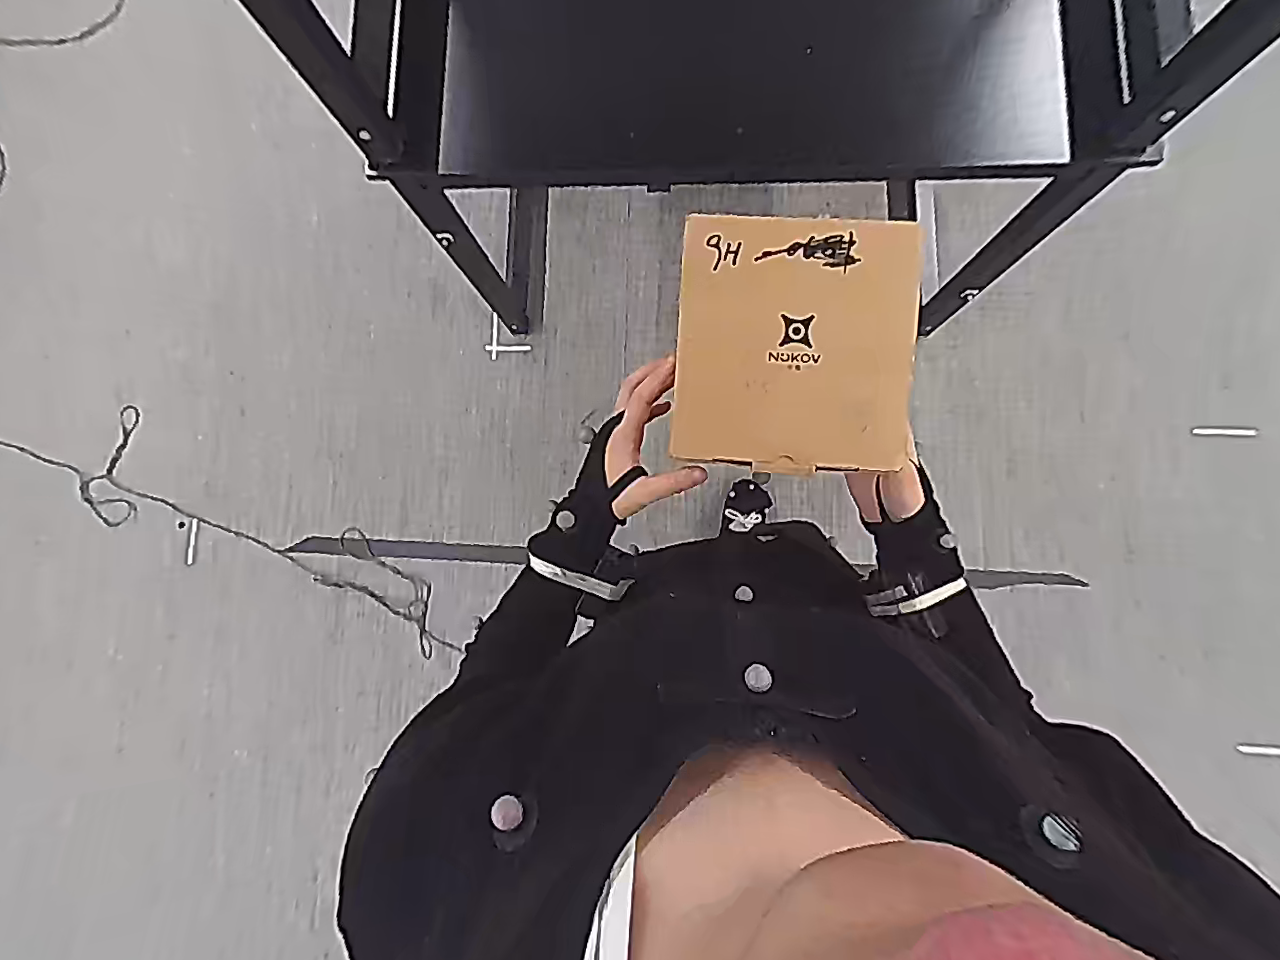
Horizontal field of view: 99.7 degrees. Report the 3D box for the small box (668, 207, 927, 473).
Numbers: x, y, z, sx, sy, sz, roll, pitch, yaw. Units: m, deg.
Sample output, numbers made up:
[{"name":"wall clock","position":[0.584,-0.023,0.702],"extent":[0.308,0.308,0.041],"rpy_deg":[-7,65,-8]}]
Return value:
[{"name":"small box","position":[0.113,-0.103,0.457],"extent":[0.168,0.176,0.179],"rpy_deg":[4,94,3]}]
